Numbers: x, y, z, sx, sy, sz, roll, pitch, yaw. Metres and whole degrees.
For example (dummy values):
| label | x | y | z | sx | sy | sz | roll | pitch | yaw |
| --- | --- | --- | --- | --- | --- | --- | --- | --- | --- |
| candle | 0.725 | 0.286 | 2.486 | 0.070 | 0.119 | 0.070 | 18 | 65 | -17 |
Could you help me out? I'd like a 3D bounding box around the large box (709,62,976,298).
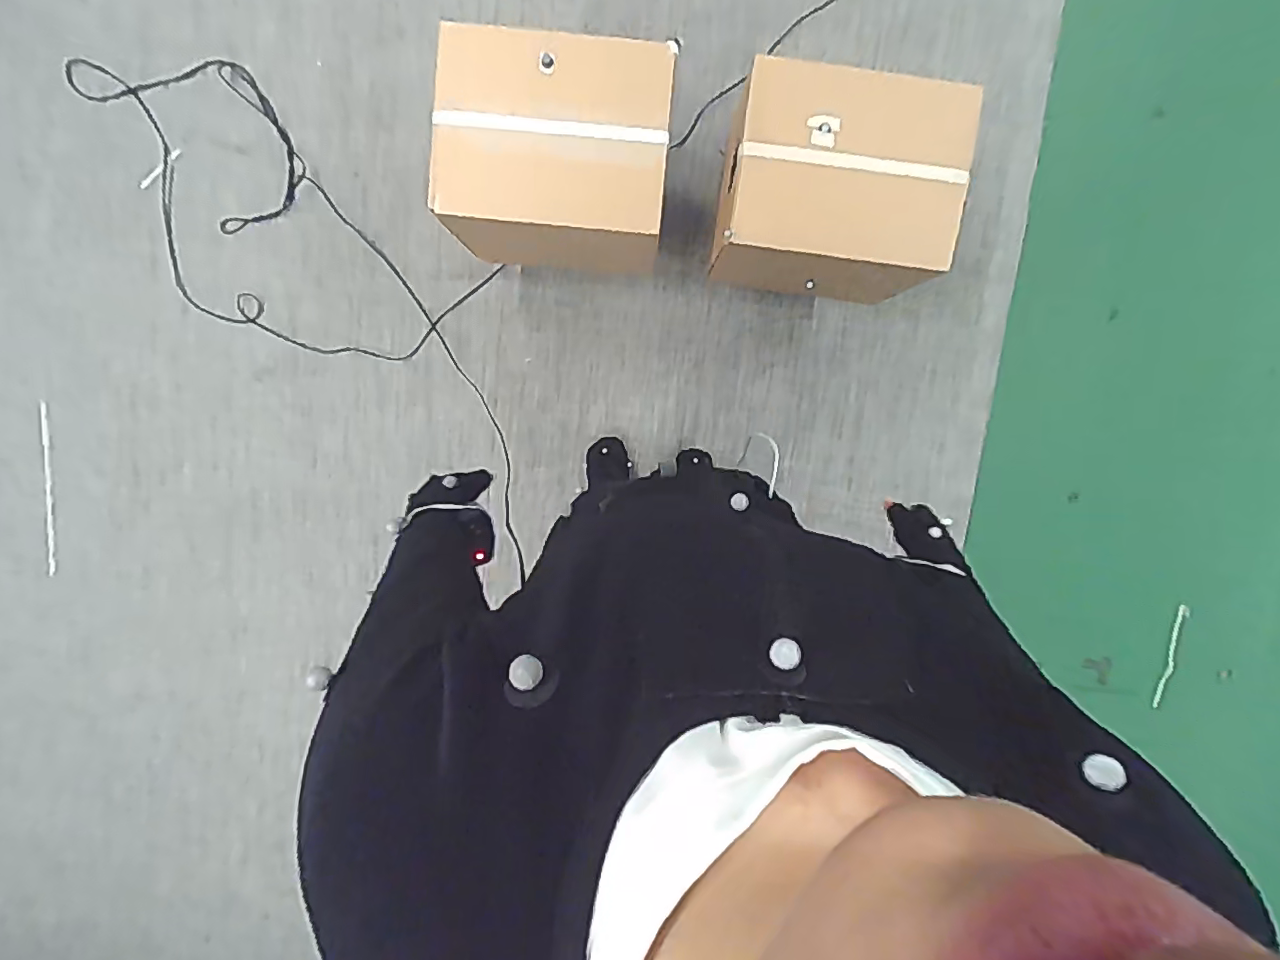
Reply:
| label | x | y | z | sx | sy | sz | roll | pitch | yaw |
| --- | --- | --- | --- | --- | --- | --- | --- | --- | --- |
| large box | 0.376 | -0.576 | 1.108 | 0.408 | 0.320 | 0.320 | 7 | 97 | -1 |
